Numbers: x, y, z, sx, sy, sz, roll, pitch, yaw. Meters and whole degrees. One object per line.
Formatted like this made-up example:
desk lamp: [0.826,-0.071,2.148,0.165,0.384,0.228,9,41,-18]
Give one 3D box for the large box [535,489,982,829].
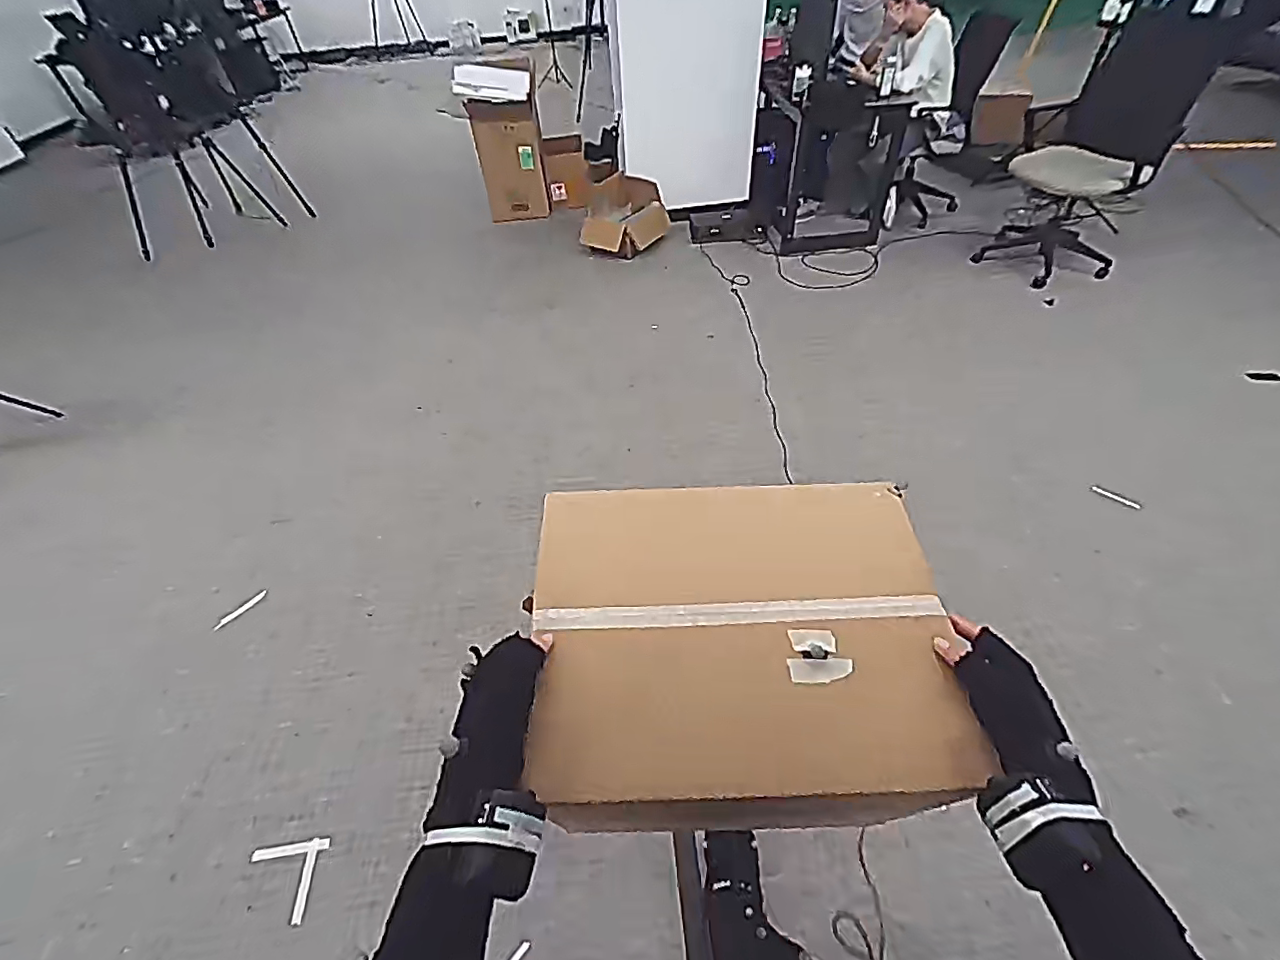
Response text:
large box: [0.099,0.232,0.678,0.408,0.320,0.320,-2,54,-1]
